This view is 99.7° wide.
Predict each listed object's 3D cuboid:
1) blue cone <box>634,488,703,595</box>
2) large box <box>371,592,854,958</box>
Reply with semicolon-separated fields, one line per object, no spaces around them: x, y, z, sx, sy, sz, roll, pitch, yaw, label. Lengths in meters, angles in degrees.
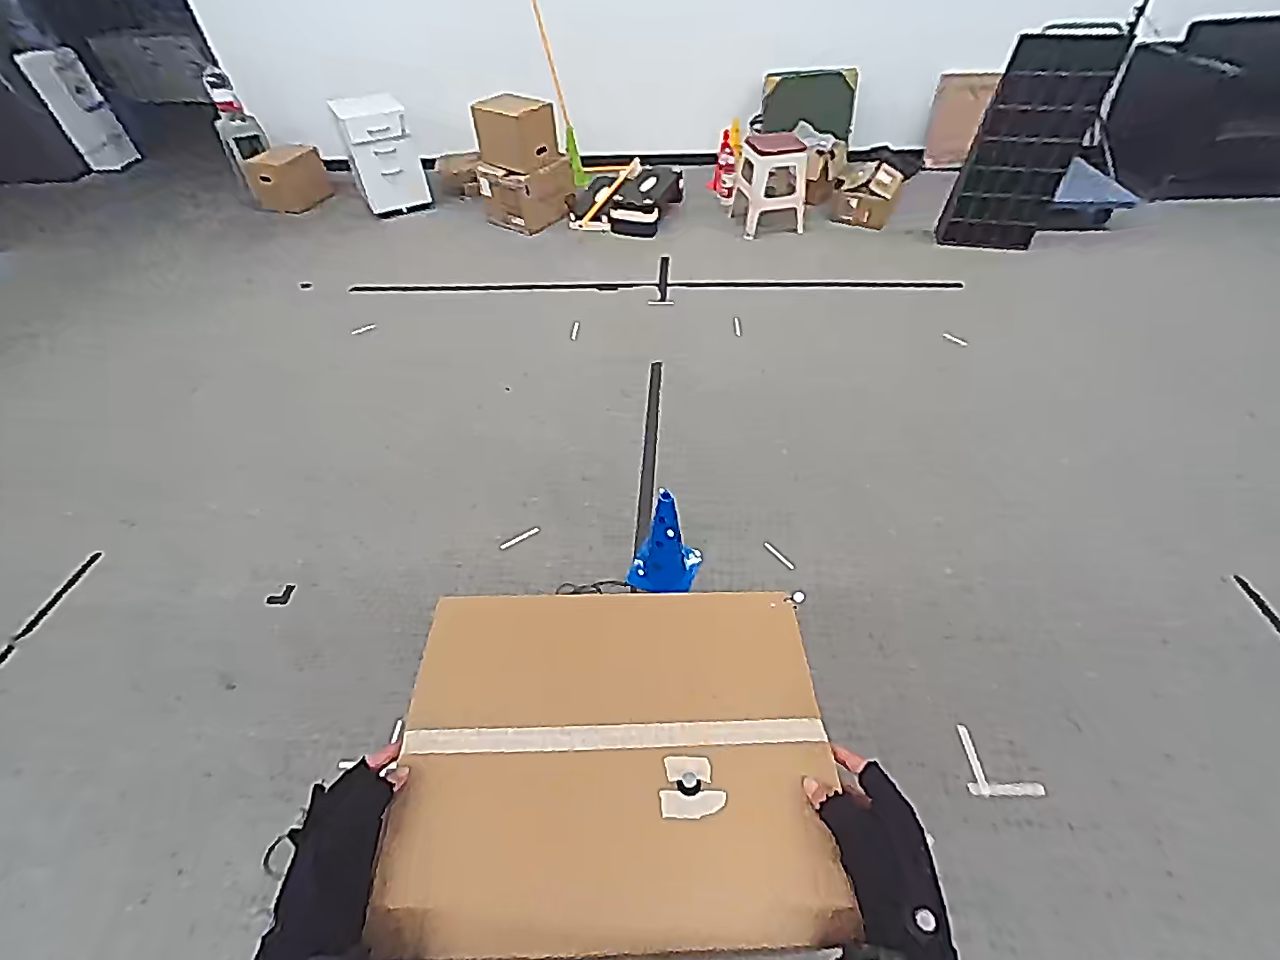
0.087;0.169;1.627;0.193;0.380;0.192;18;50;17;blue cone
-0.028;0.351;0.646;0.408;0.320;0.320;0;48;-2;large box
